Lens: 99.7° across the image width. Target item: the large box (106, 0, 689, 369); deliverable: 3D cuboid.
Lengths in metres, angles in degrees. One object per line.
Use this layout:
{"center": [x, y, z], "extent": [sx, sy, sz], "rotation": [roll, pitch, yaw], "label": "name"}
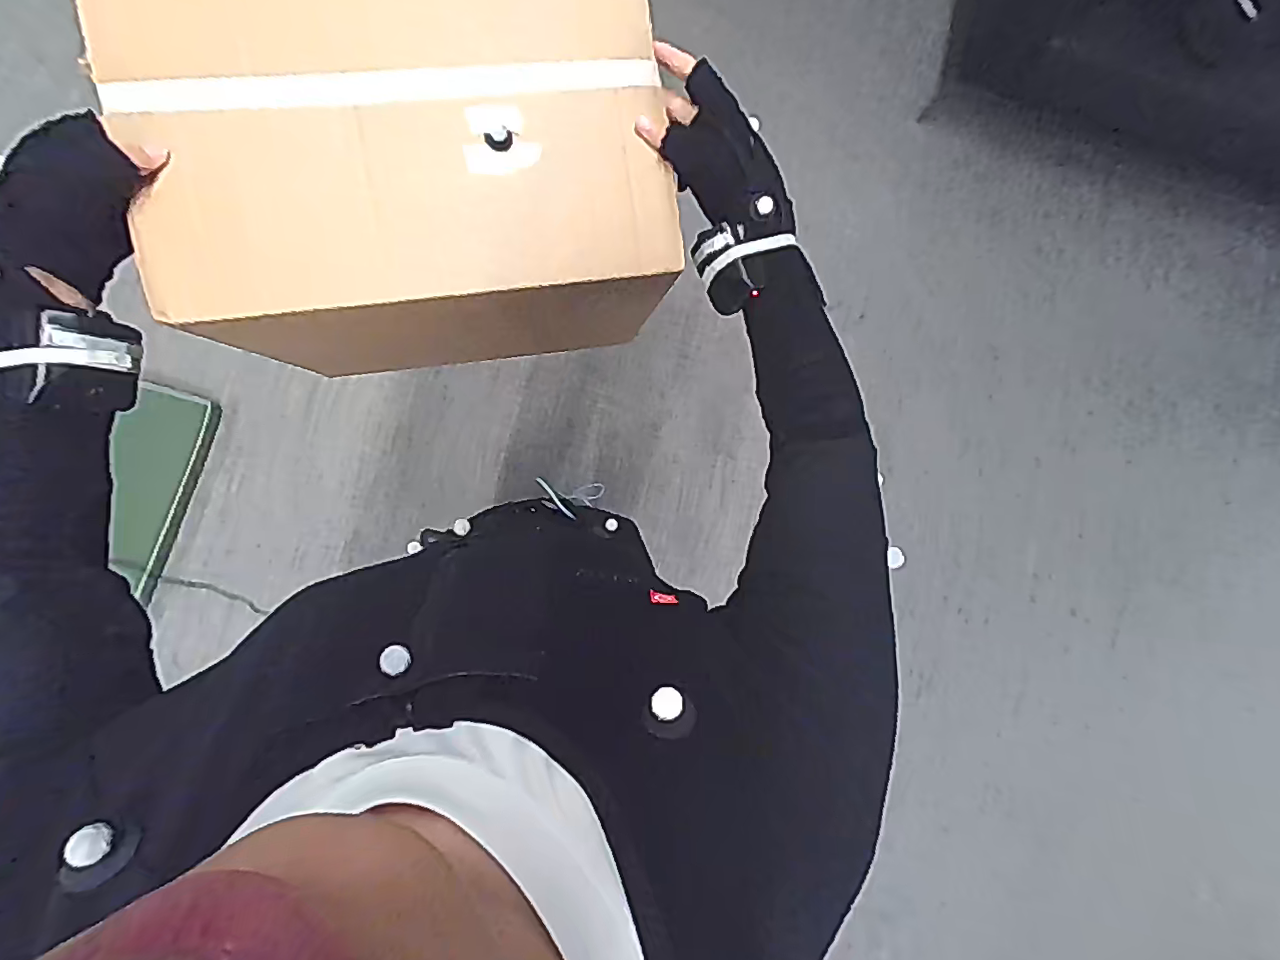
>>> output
{"center": [-0.202, -0.317, 0.563], "extent": [0.408, 0.320, 0.320], "rotation": [-10, 96, -10], "label": "large box"}
